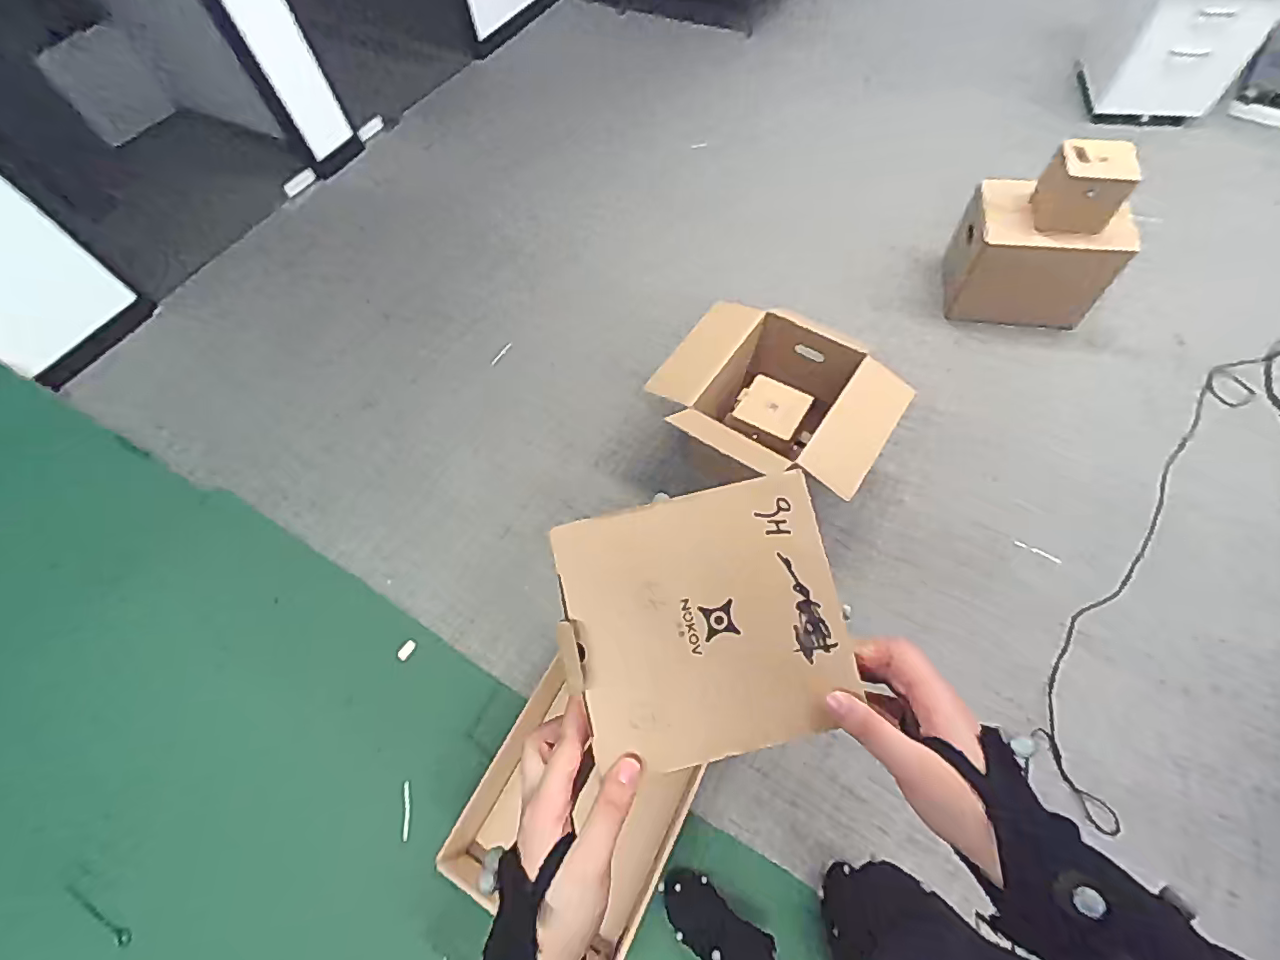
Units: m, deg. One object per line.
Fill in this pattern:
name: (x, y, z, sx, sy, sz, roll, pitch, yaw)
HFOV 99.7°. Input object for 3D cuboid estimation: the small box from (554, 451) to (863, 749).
small box: (0.044, 0.089, 0.434, 0.179, 0.176, 0.168, -13, 81, -1)

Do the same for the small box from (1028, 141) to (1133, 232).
small box: (1.247, -0.839, 1.551, 0.179, 0.176, 0.168, 9, 64, 11)
